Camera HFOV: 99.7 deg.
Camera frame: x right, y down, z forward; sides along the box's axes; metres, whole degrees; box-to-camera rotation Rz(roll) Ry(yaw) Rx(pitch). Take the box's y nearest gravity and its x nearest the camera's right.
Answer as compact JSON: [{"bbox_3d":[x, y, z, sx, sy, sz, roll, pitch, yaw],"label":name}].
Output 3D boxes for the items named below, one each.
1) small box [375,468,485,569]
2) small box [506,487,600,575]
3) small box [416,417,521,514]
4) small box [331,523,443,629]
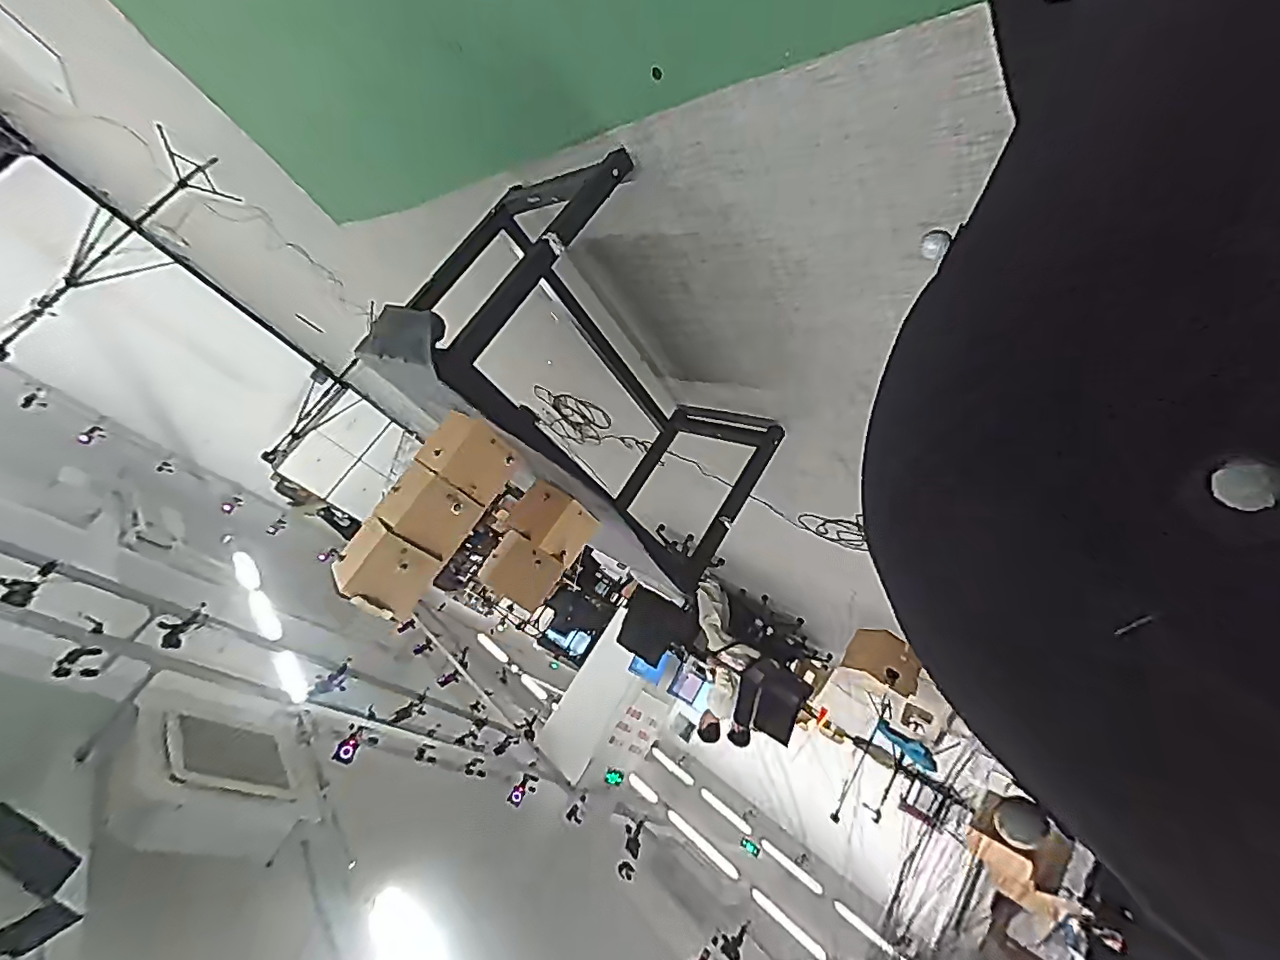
[{"bbox_3d":[-0.521,0.089,1.352,0.179,0.176,0.168,18,160,49],"label":"small box"},{"bbox_3d":[-0.251,0.144,1.594,0.179,0.176,0.168,25,163,38],"label":"small box"},{"bbox_3d":[-0.434,-0.042,1.392,0.179,0.176,0.168,22,162,46],"label":"small box"},{"bbox_3d":[-0.608,0.223,1.307,0.168,0.176,0.179,42,165,-35],"label":"small box"}]
